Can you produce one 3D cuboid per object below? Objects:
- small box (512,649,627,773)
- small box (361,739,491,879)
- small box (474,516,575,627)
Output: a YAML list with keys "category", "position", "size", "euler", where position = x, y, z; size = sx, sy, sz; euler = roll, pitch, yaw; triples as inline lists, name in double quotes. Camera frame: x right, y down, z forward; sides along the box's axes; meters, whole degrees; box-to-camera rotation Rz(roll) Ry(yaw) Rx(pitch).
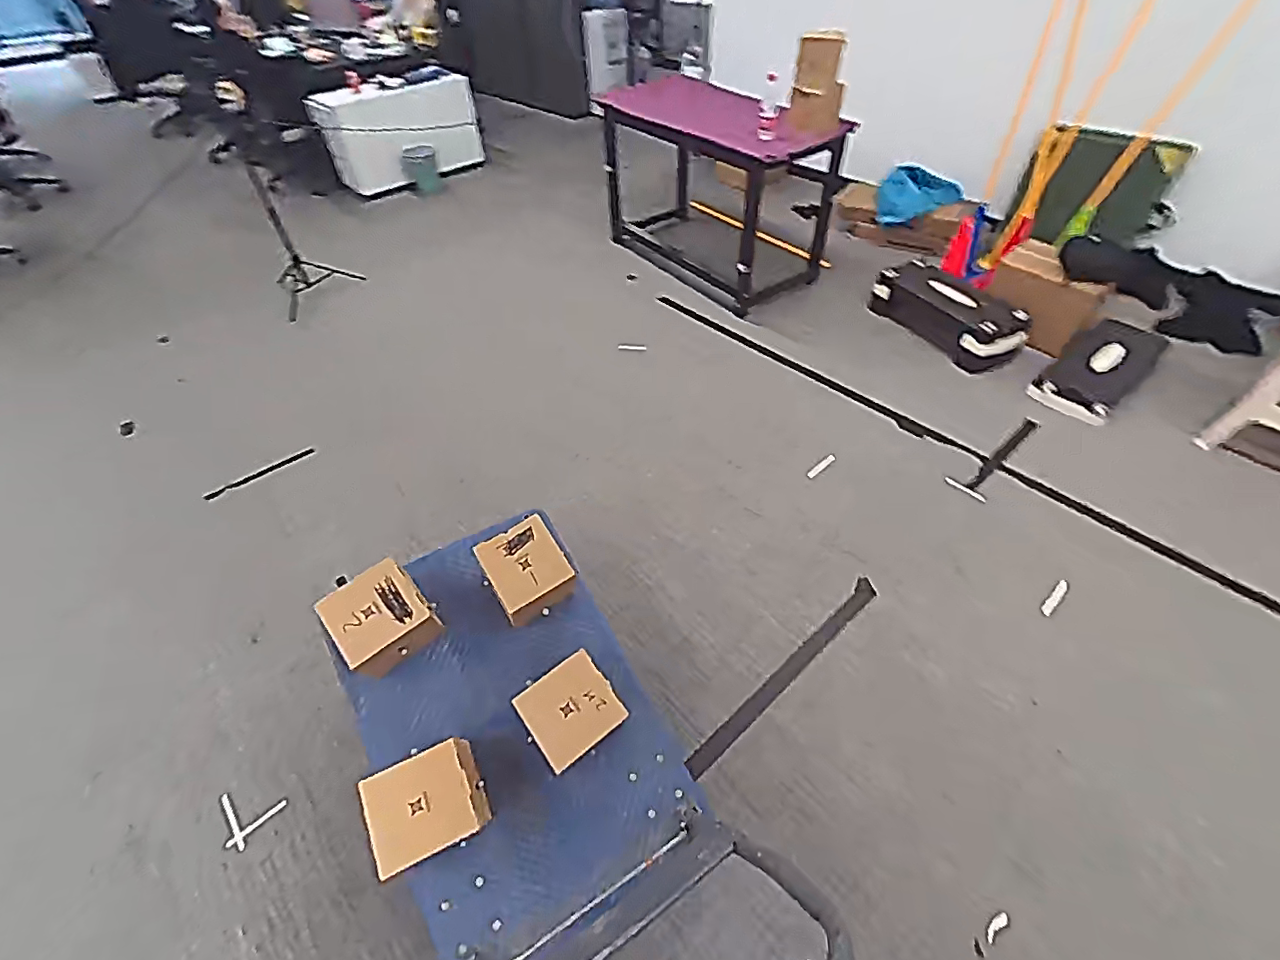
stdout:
- category: "small box"
  position: [-0.146, 0.489, 1.144]
  size: [0.179, 0.176, 0.168]
  euler: [-33, 72, -21]
- category: "small box"
  position: [-0.403, 0.625, 1.043]
  size: [0.179, 0.176, 0.168]
  euler: [-21, 67, -18]
- category: "small box"
  position: [-0.268, 0.219, 1.267]
  size: [0.168, 0.176, 0.179]
  euler: [-30, 71, -20]
